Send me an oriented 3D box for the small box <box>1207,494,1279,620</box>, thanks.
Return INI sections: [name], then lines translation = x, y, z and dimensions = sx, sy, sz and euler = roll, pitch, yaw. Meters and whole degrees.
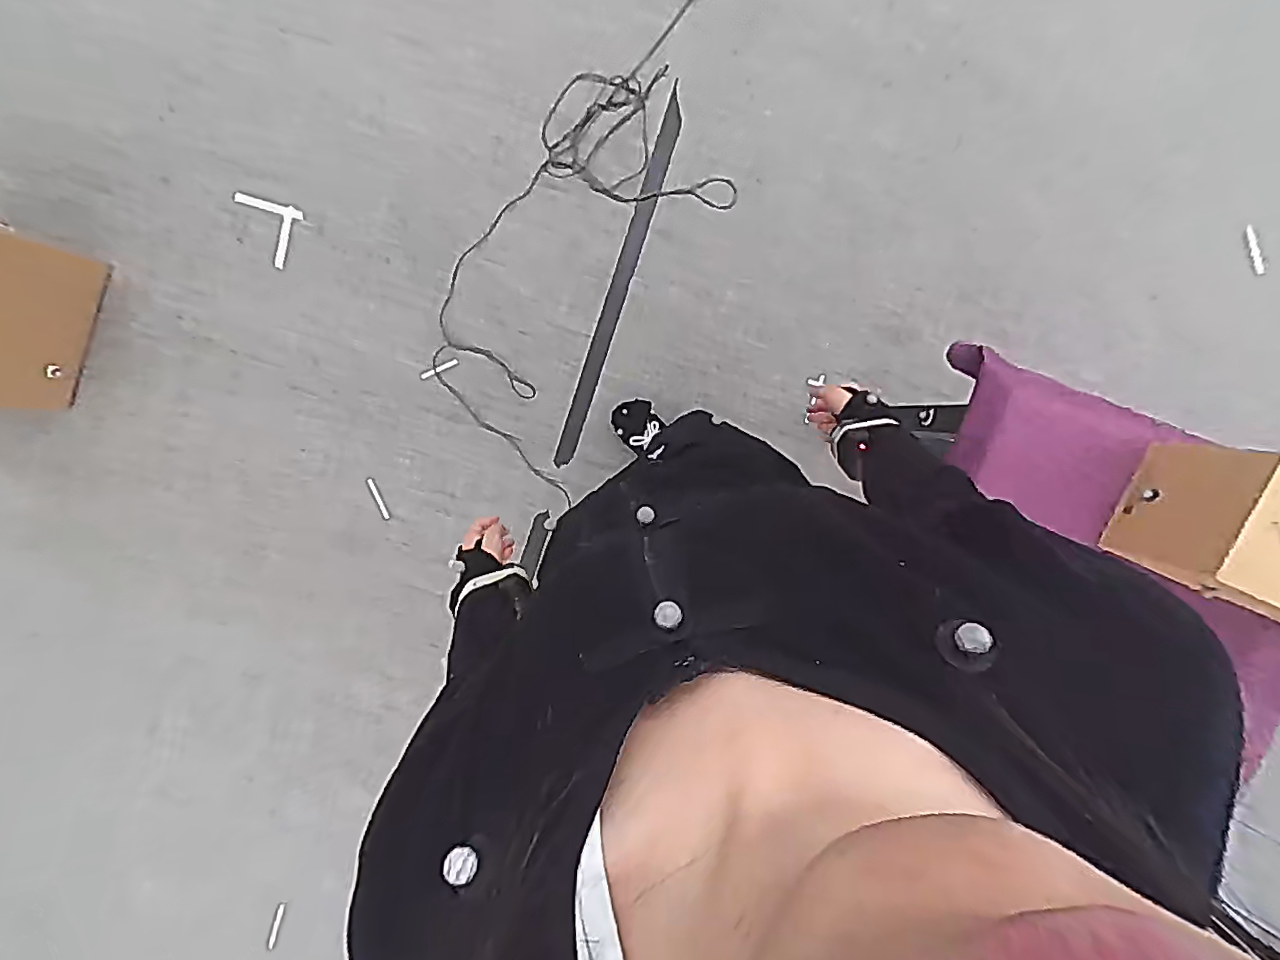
[small box]
translation = 0.958, 0.128, 0.731
dimensions = 0.179, 0.176, 0.168
euler = 22, 96, -4
